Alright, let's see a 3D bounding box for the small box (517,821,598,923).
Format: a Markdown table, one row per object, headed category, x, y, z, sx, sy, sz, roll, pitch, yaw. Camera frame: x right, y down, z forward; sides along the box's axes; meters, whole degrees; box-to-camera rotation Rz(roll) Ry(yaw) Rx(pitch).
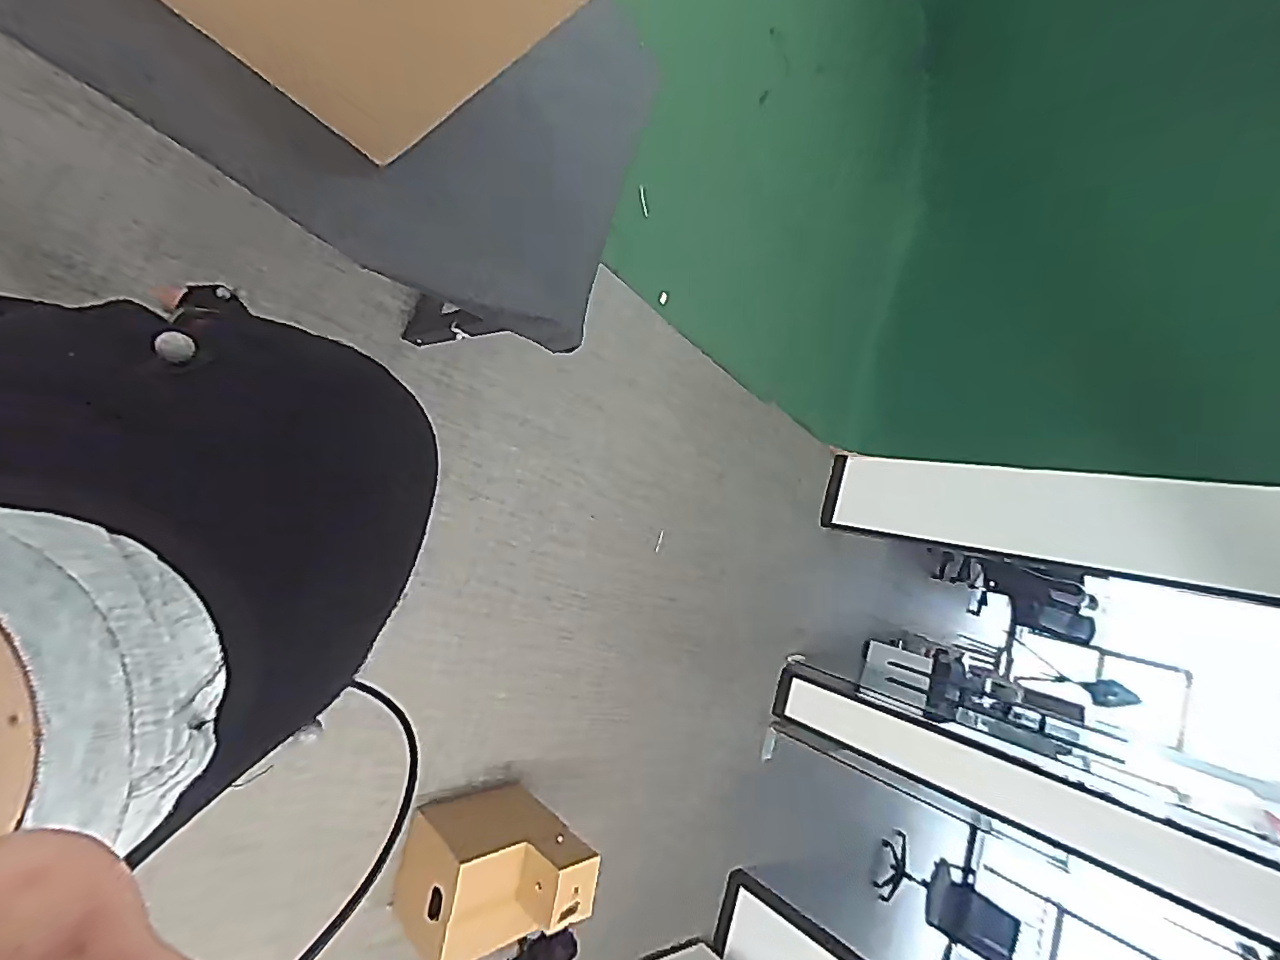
| category | x | y | z | sx | sy | sz | roll | pitch | yaw |
| --- | --- | --- | --- | --- | --- | --- | --- | --- | --- |
| small box | -0.258 | 1.198 | 1.666 | 0.168 | 0.176 | 0.179 | 17 | 80 | -46 |
